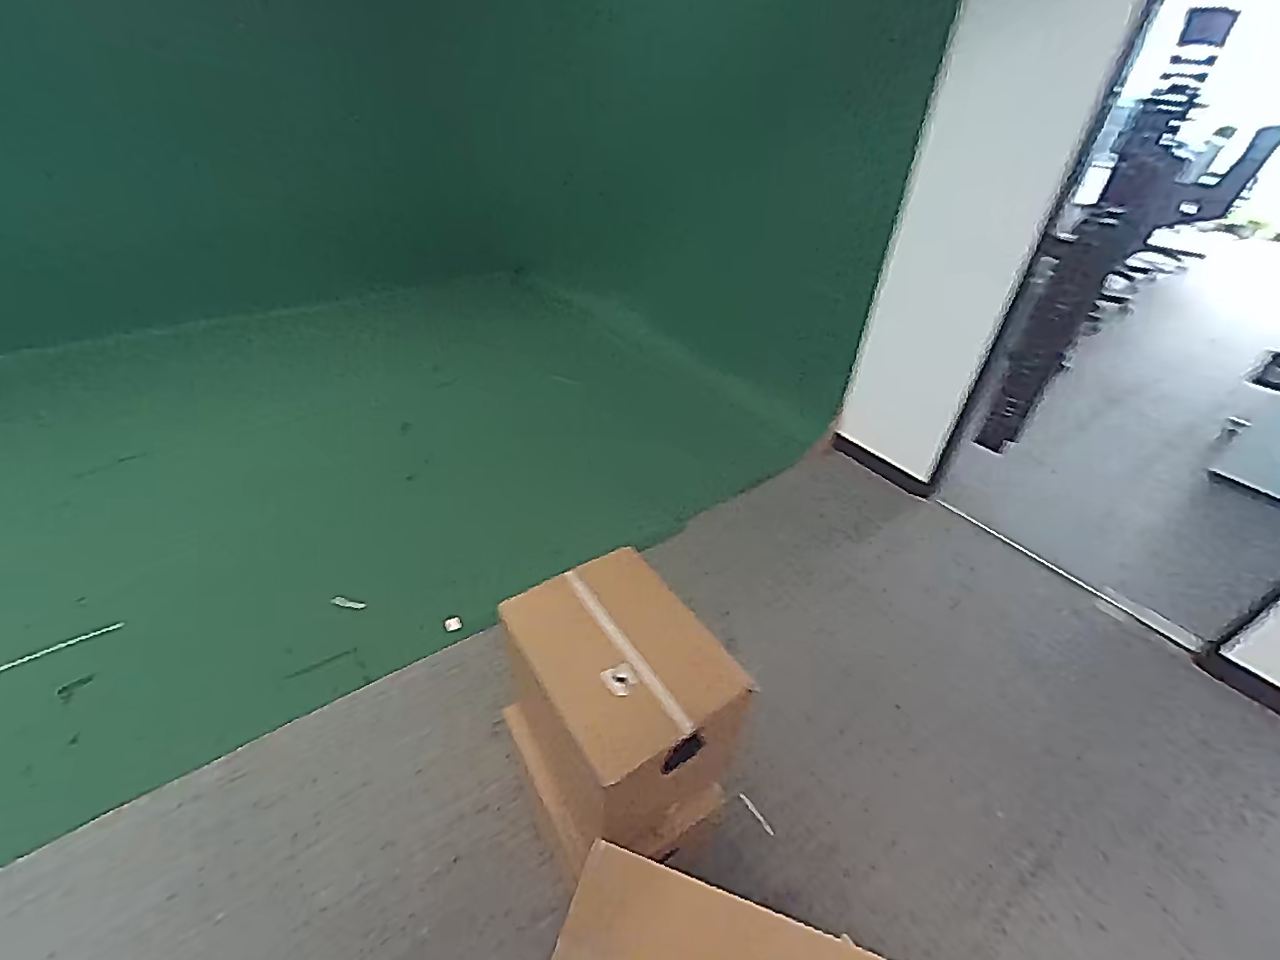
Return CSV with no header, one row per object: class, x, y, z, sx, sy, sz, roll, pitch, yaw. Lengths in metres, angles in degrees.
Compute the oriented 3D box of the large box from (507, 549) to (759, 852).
large box,-0.038,0.416,1.089,0.320,0.320,0.408,-20,45,-29
